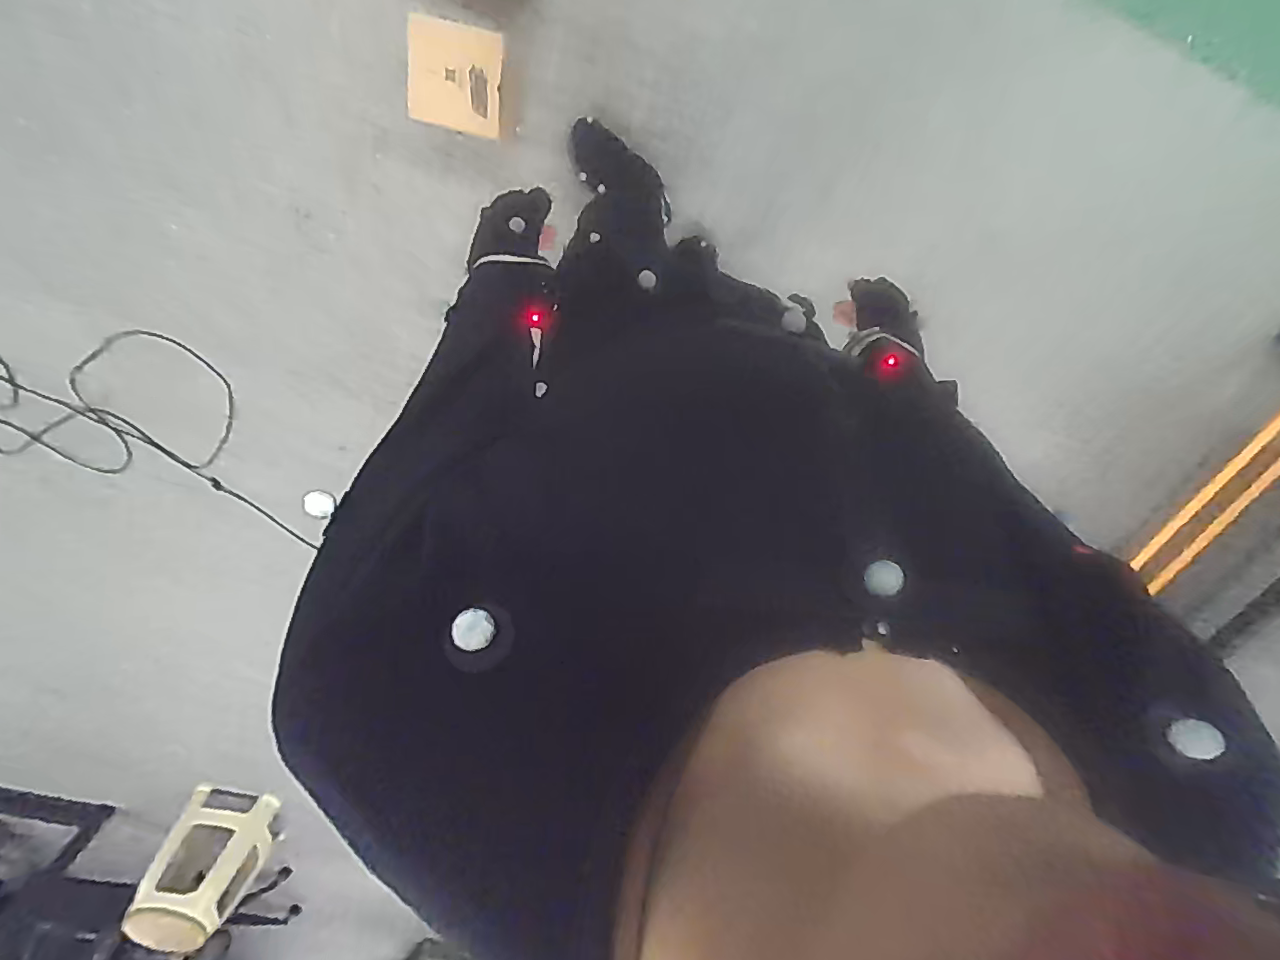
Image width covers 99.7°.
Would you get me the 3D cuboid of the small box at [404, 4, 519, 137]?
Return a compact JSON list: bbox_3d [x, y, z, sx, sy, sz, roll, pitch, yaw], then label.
[{"bbox_3d":[-0.346,-0.793,1.068,0.179,0.176,0.168,11,117,-5],"label":"small box"}]
